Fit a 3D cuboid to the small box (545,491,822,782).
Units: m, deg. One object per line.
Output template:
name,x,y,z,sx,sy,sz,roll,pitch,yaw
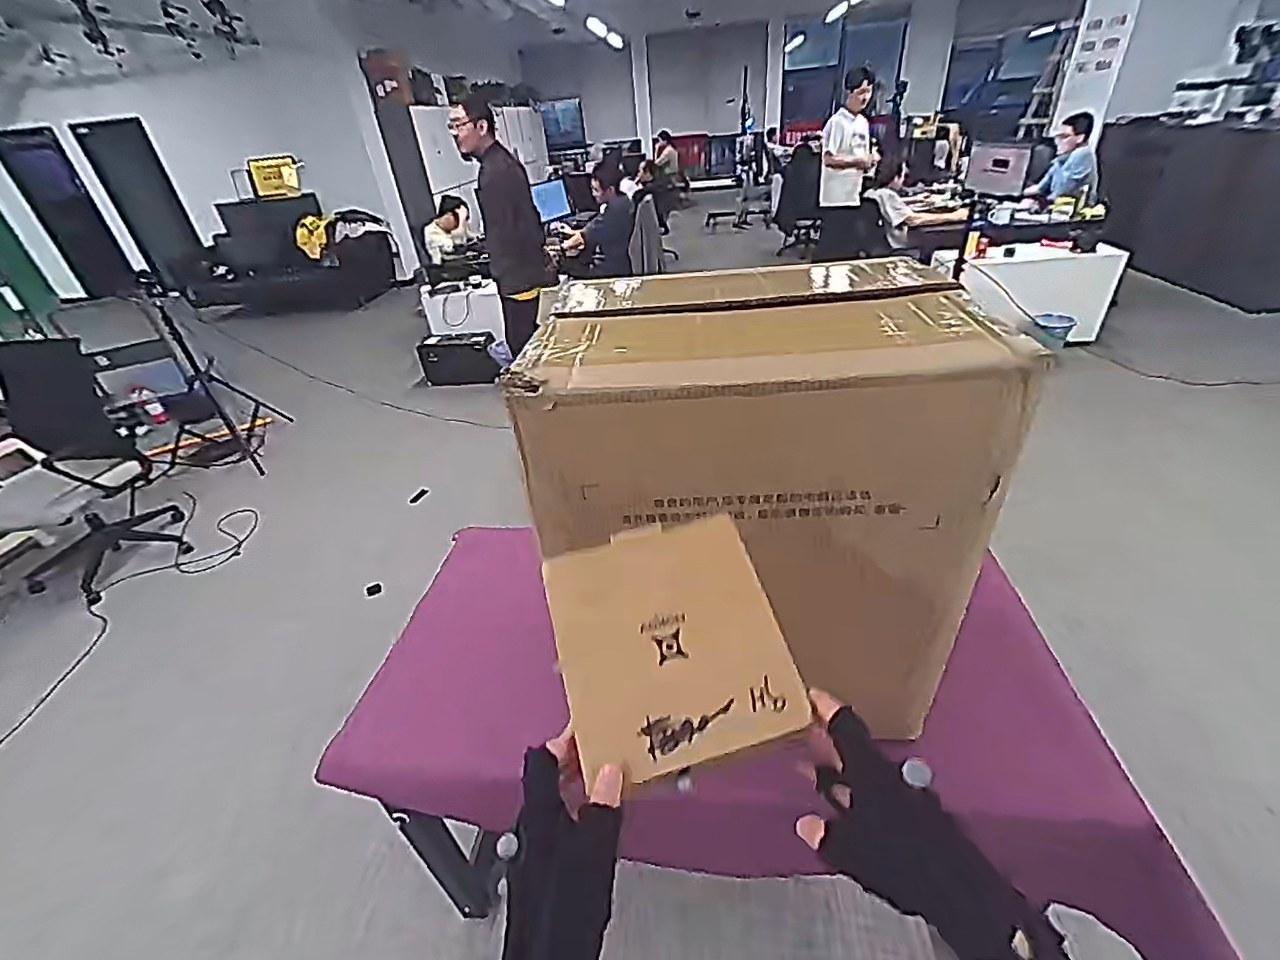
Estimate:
small box,0.024,0.139,0.463,0.168,0.176,0.179,-14,60,-7
